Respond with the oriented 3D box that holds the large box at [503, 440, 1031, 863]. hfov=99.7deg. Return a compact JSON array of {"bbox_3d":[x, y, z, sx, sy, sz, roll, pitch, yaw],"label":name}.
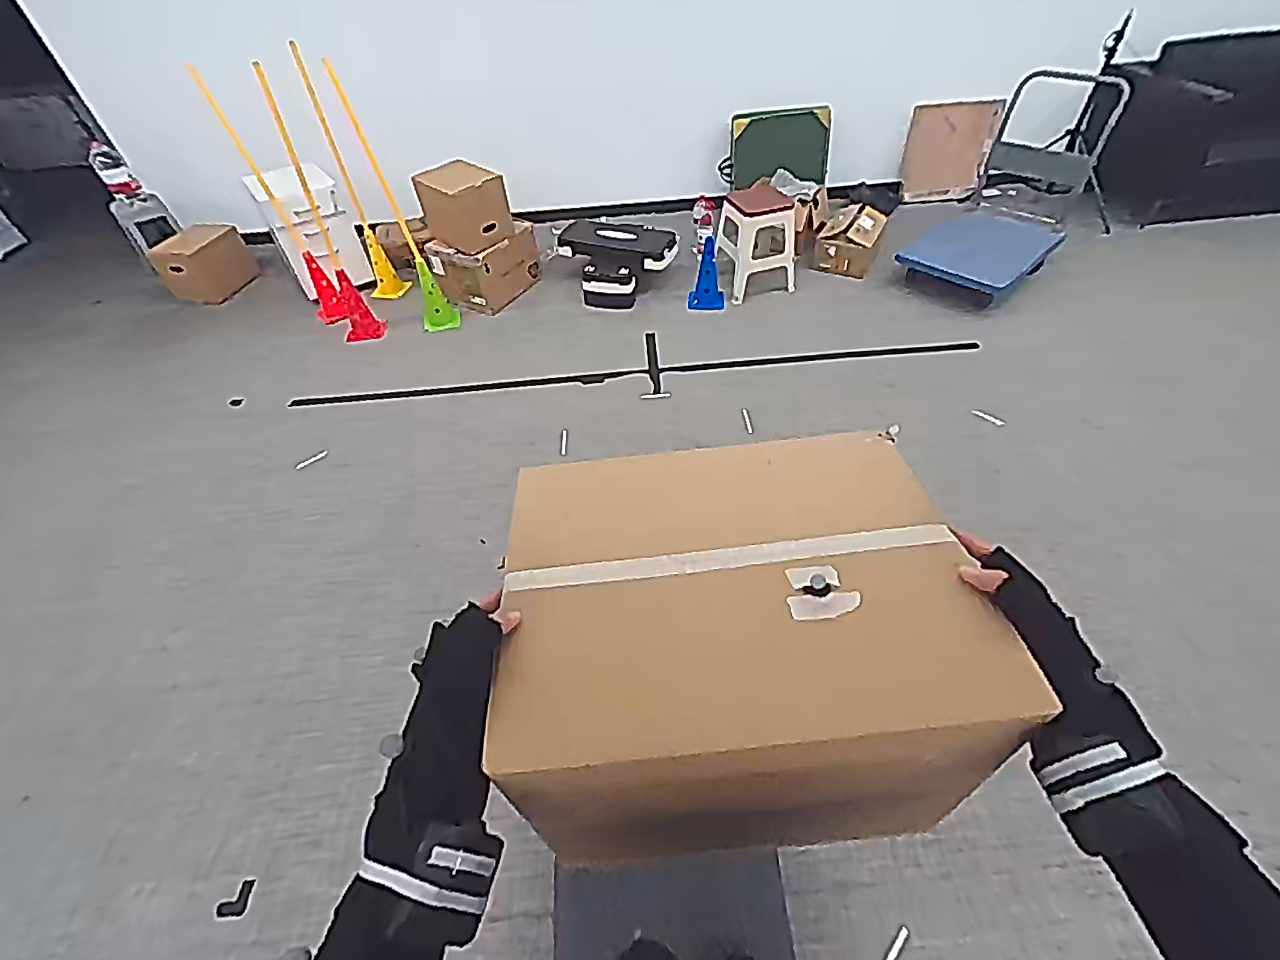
[{"bbox_3d":[0.093,0.189,0.604,0.408,0.320,0.320,-7,44,0],"label":"large box"}]
